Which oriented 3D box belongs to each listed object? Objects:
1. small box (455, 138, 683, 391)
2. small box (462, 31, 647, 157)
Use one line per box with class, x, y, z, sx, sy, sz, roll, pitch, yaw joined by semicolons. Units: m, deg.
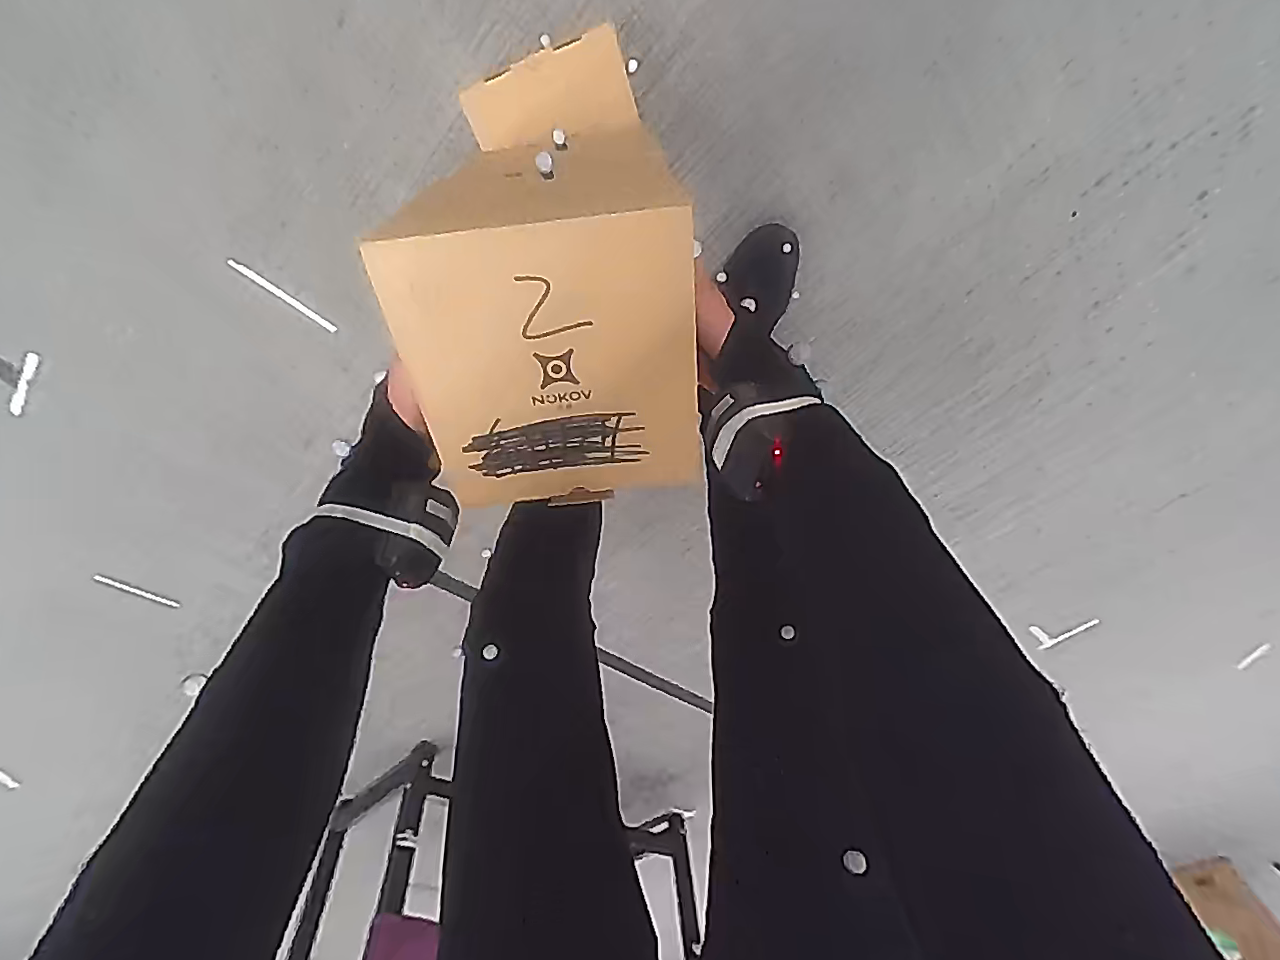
small box;-0.056;-0.208;0.507;0.168;0.176;0.179;-8;128;0
small box;-0.078;-0.389;0.632;0.168;0.176;0.179;-18;128;8
